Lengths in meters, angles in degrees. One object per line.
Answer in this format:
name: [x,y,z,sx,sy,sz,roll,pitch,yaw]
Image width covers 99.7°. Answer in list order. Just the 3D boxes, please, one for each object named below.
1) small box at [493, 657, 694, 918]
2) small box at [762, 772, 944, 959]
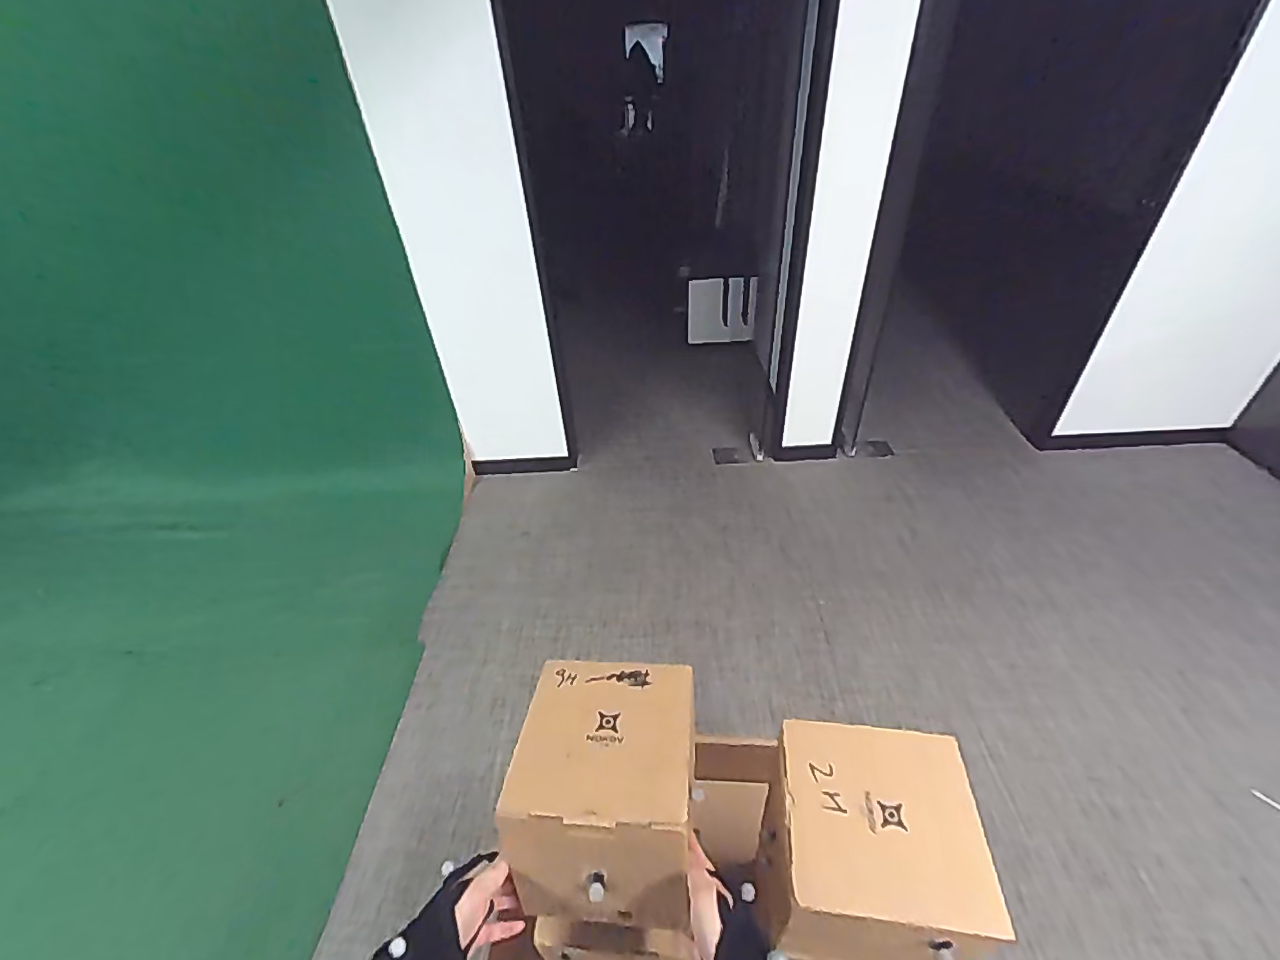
small box: [-0.031,0.312,0.564,0.168,0.176,0.179,0,28,8]
small box: [0.241,0.491,0.663,0.168,0.176,0.179,1,41,9]
